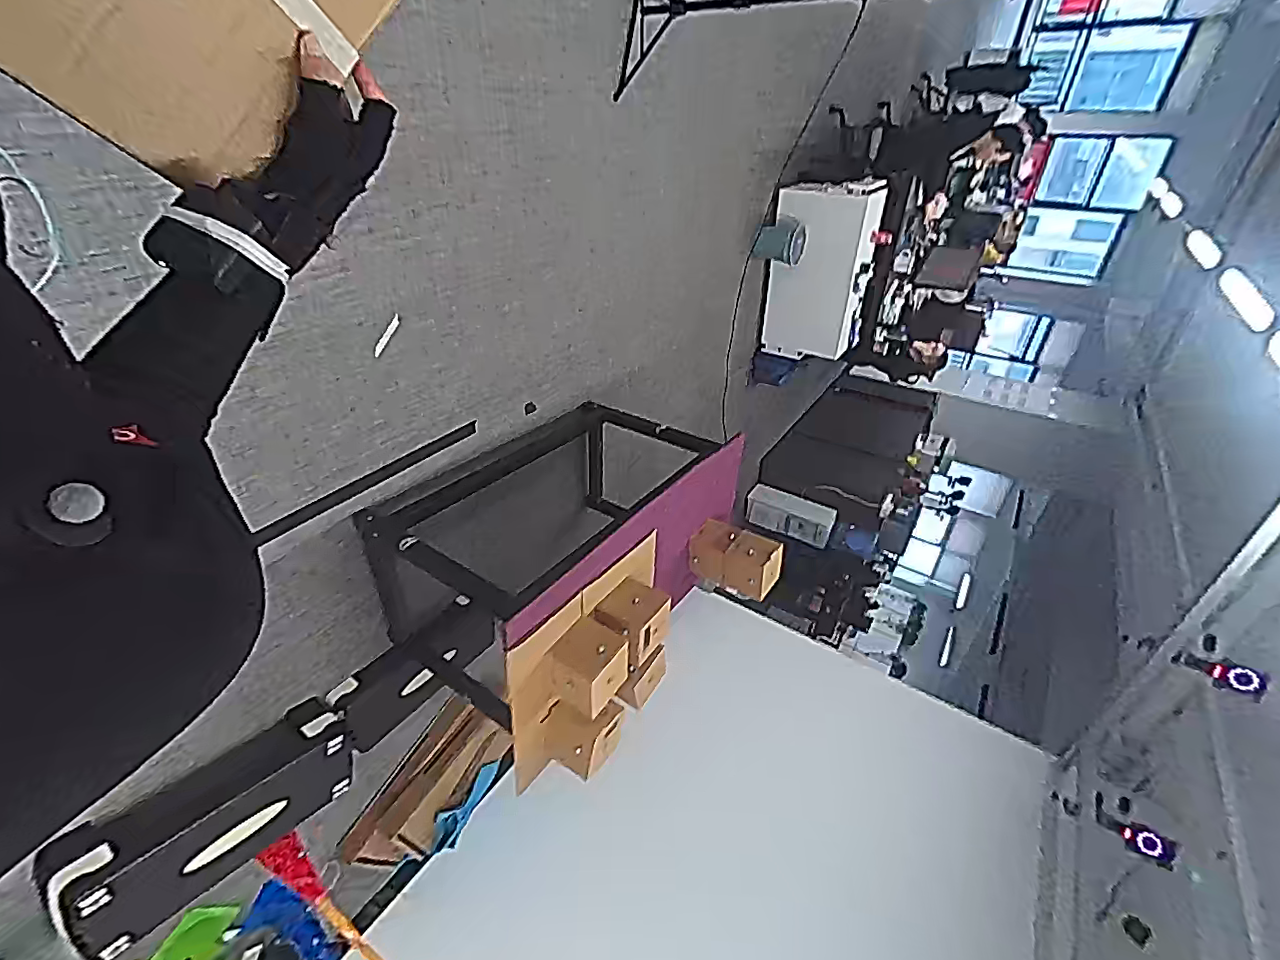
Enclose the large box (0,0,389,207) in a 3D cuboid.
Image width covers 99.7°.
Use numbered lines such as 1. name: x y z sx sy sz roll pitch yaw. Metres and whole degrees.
1. large box: -0.426 -0.473 0.336 0.320 0.320 0.408 -52 153 1
